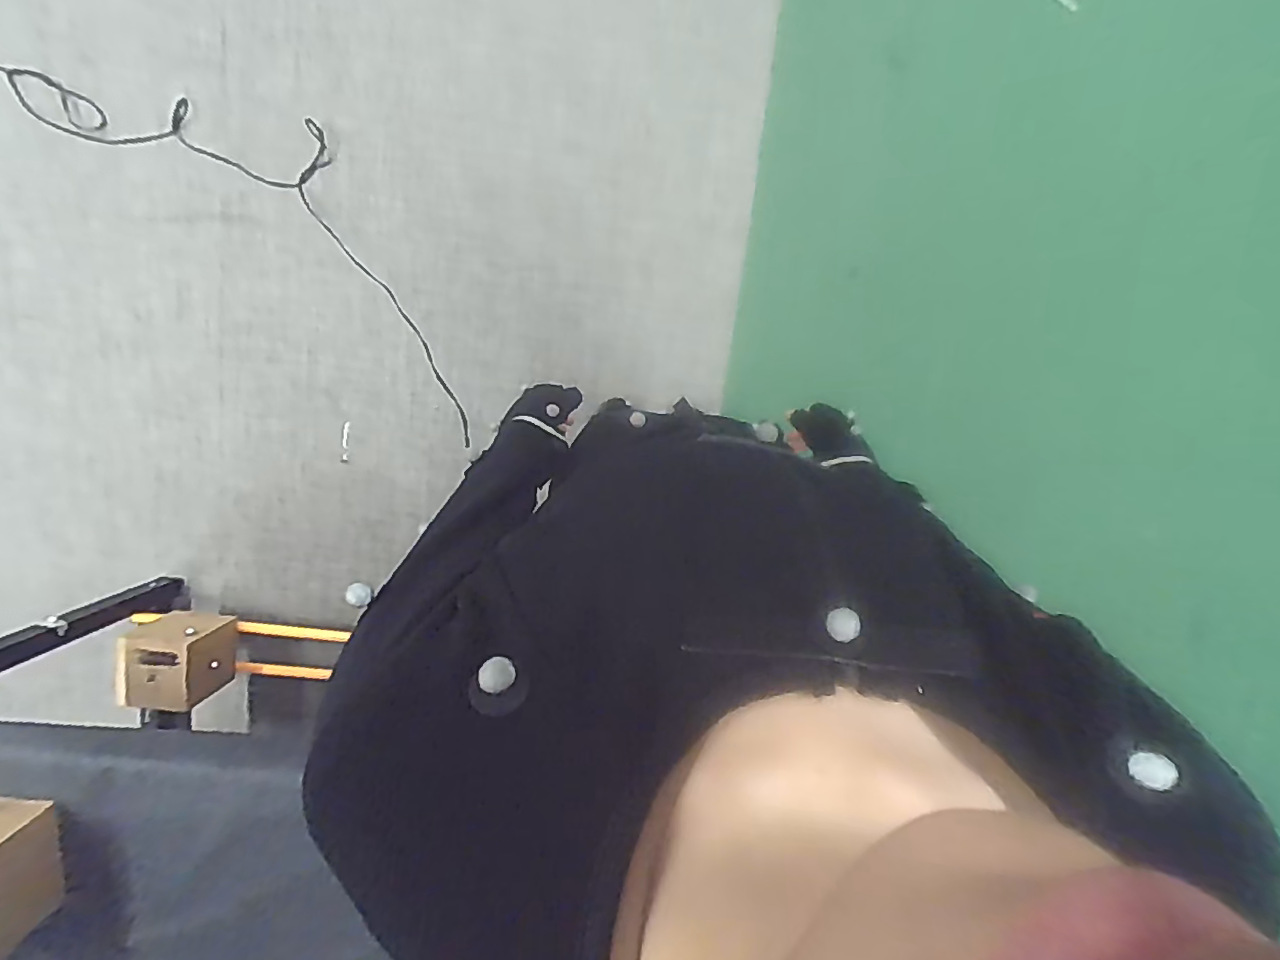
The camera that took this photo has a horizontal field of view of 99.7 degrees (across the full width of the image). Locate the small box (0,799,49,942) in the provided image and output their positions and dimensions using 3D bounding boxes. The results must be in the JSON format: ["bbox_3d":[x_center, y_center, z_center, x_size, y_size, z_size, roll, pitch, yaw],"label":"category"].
[{"bbox_3d":[-0.957,0.560,0.720,0.168,0.176,0.179,5,99,-3],"label":"small box"}]
